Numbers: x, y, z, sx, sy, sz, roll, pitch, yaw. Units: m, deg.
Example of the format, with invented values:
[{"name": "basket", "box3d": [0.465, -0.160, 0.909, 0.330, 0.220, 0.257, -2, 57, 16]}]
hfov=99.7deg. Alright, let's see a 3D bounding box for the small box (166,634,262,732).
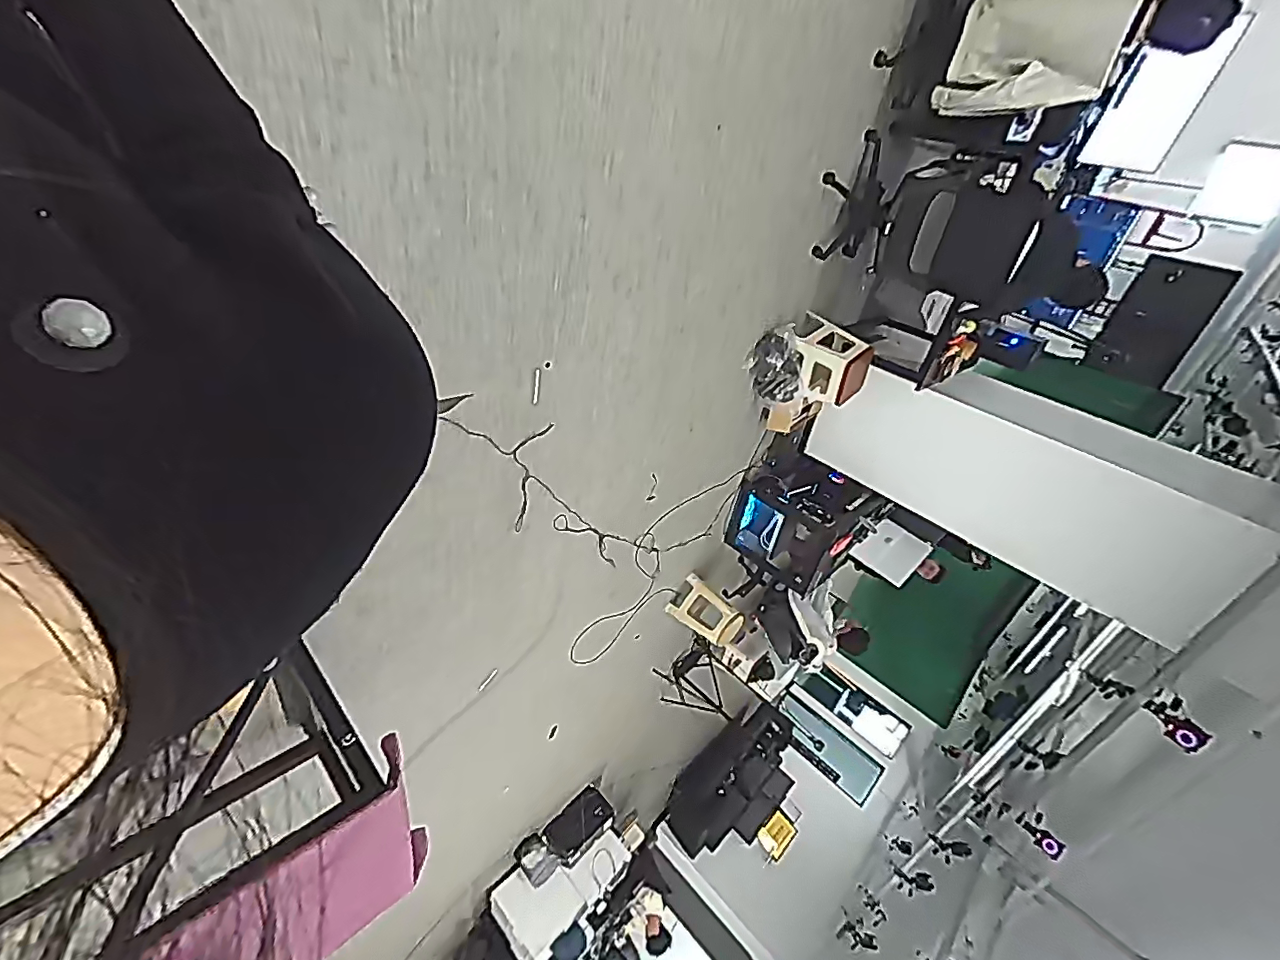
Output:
[{"name": "small box", "box3d": [-1.229, 0.573, 1.560, 0.168, 0.176, 0.179, -22, 136, -43]}]
